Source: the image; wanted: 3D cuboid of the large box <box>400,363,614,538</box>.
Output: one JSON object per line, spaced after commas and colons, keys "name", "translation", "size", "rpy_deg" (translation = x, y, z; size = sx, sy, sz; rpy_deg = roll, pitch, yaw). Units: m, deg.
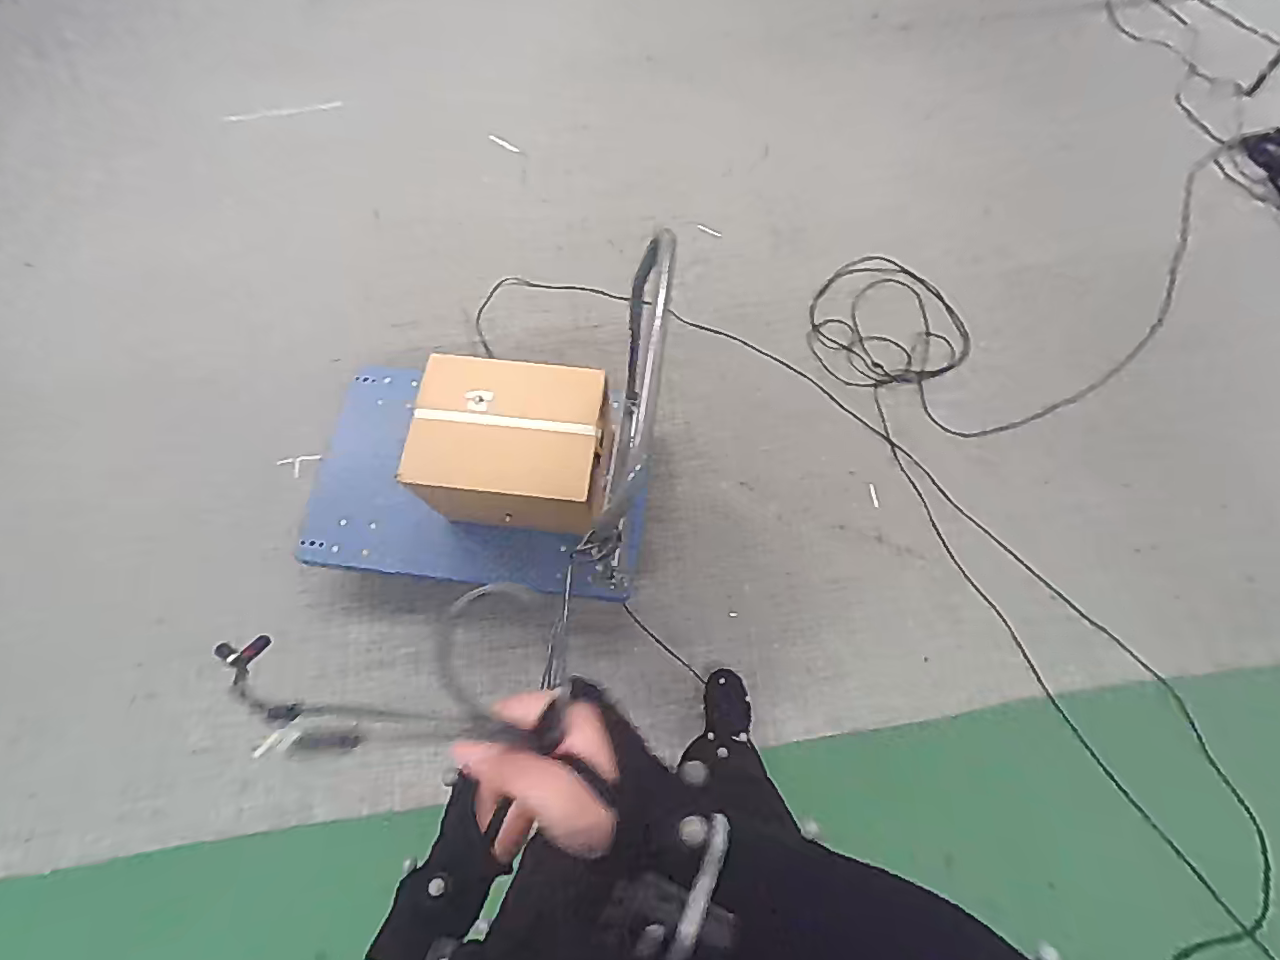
{"name": "large box", "translation": [-0.283, -0.056, 1.298], "size": [0.408, 0.320, 0.320], "rpy_deg": [6, 70, 3]}
